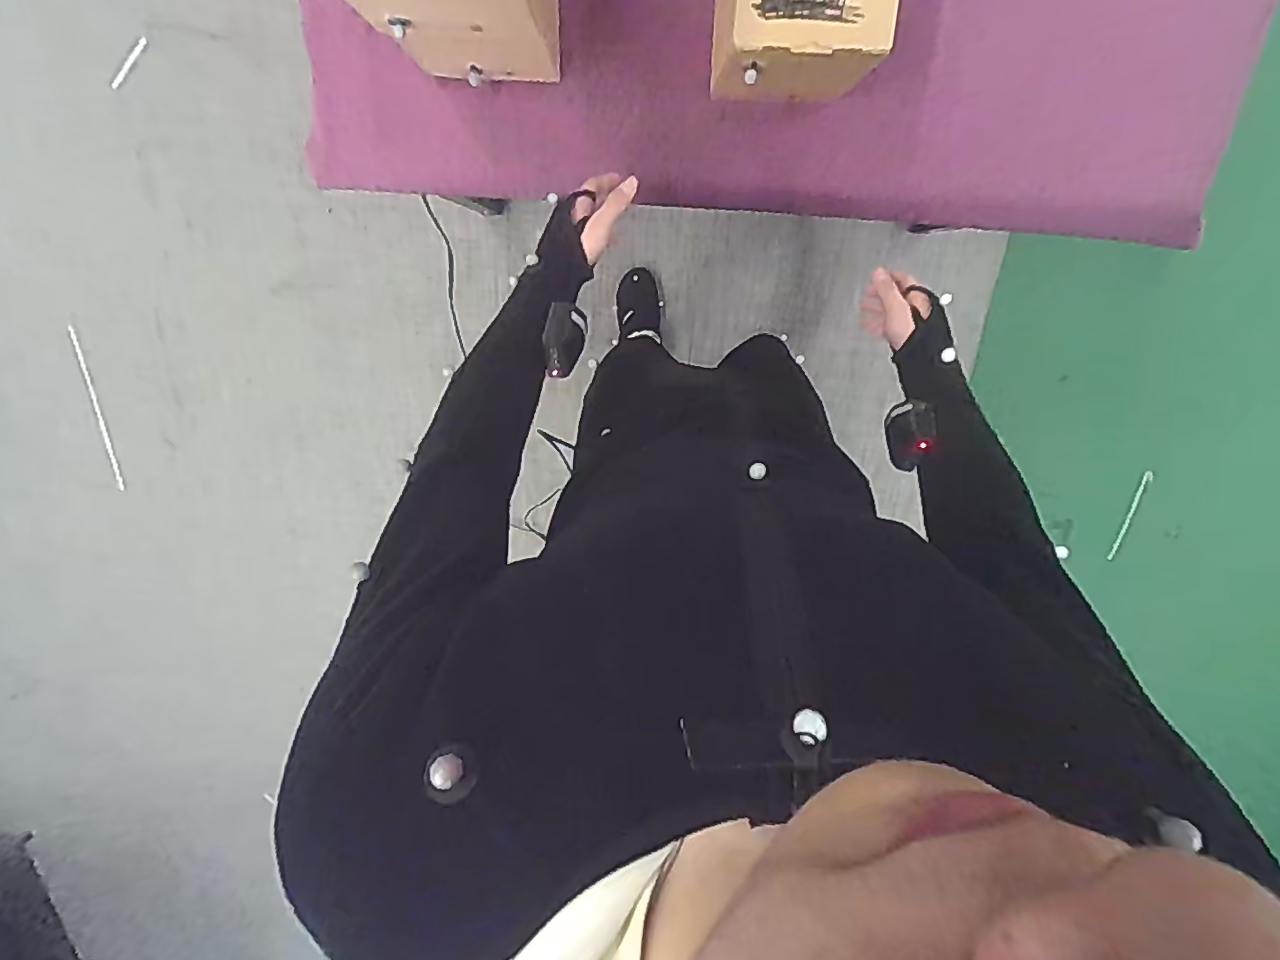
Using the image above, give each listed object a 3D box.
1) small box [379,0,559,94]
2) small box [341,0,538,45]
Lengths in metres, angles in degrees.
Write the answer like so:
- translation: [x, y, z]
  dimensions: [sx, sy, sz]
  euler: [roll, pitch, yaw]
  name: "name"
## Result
- translation: [-0.182, -0.556, 0.592]
  dimensions: [0.168, 0.176, 0.179]
  euler: [1, 111, -1]
  name: "small box"
- translation: [-0.180, -0.492, 0.441]
  dimensions: [0.168, 0.176, 0.179]
  euler: [1, 109, -1]
  name: "small box"
